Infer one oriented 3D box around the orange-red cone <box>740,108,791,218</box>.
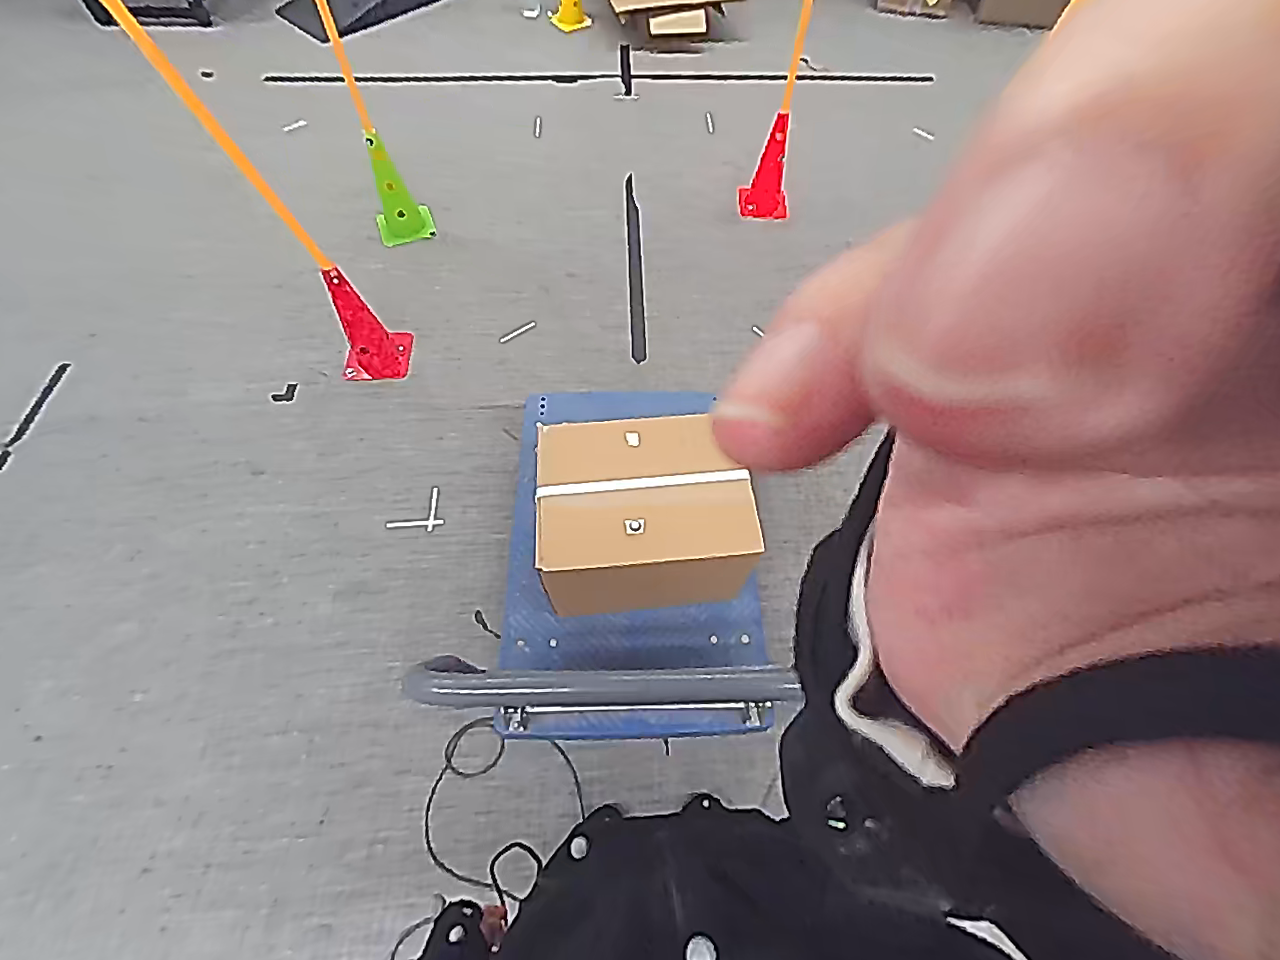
[{"bbox_3d":[0.518,-1.232,2.083,0.199,0.360,0.198,5,61,0],"label":"orange-red cone"}]
